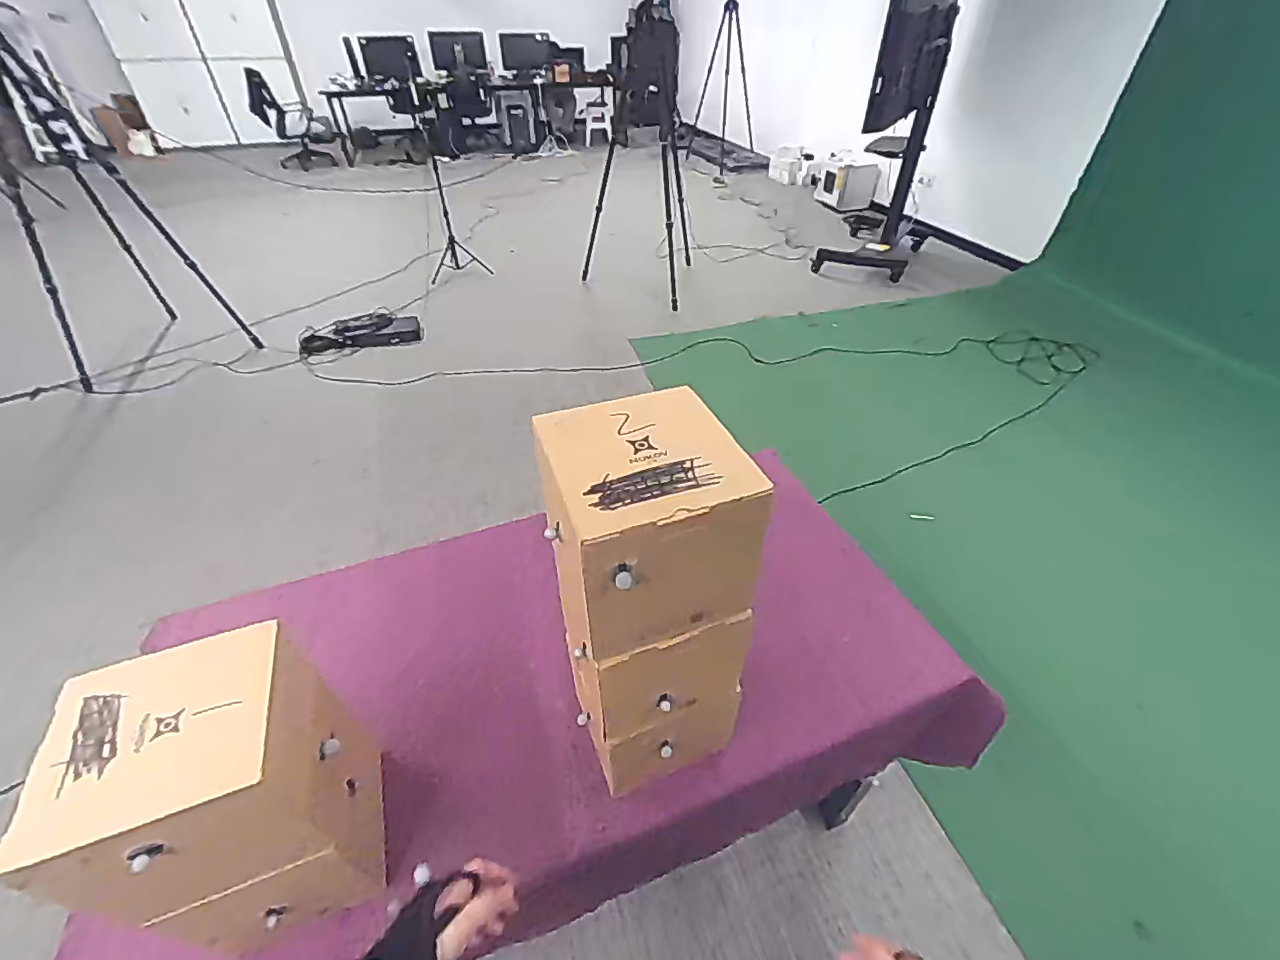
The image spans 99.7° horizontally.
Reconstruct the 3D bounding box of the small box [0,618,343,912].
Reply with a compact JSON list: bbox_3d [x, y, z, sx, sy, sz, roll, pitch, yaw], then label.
[{"bbox_3d":[-0.409,0.268,0.515,0.179,0.176,0.168,-15,44,-17],"label":"small box"}]

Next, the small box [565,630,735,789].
[{"bbox_3d":[0.011,0.286,0.740,0.179,0.176,0.168,-16,44,-16],"label":"small box"}]

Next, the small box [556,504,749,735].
[{"bbox_3d":[0.005,0.160,0.636,0.168,0.176,0.179,-14,44,-16],"label":"small box"}]

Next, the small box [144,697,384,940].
[{"bbox_3d":[-0.408,0.391,0.625,0.168,0.176,0.179,-14,43,-16],"label":"small box"}]
